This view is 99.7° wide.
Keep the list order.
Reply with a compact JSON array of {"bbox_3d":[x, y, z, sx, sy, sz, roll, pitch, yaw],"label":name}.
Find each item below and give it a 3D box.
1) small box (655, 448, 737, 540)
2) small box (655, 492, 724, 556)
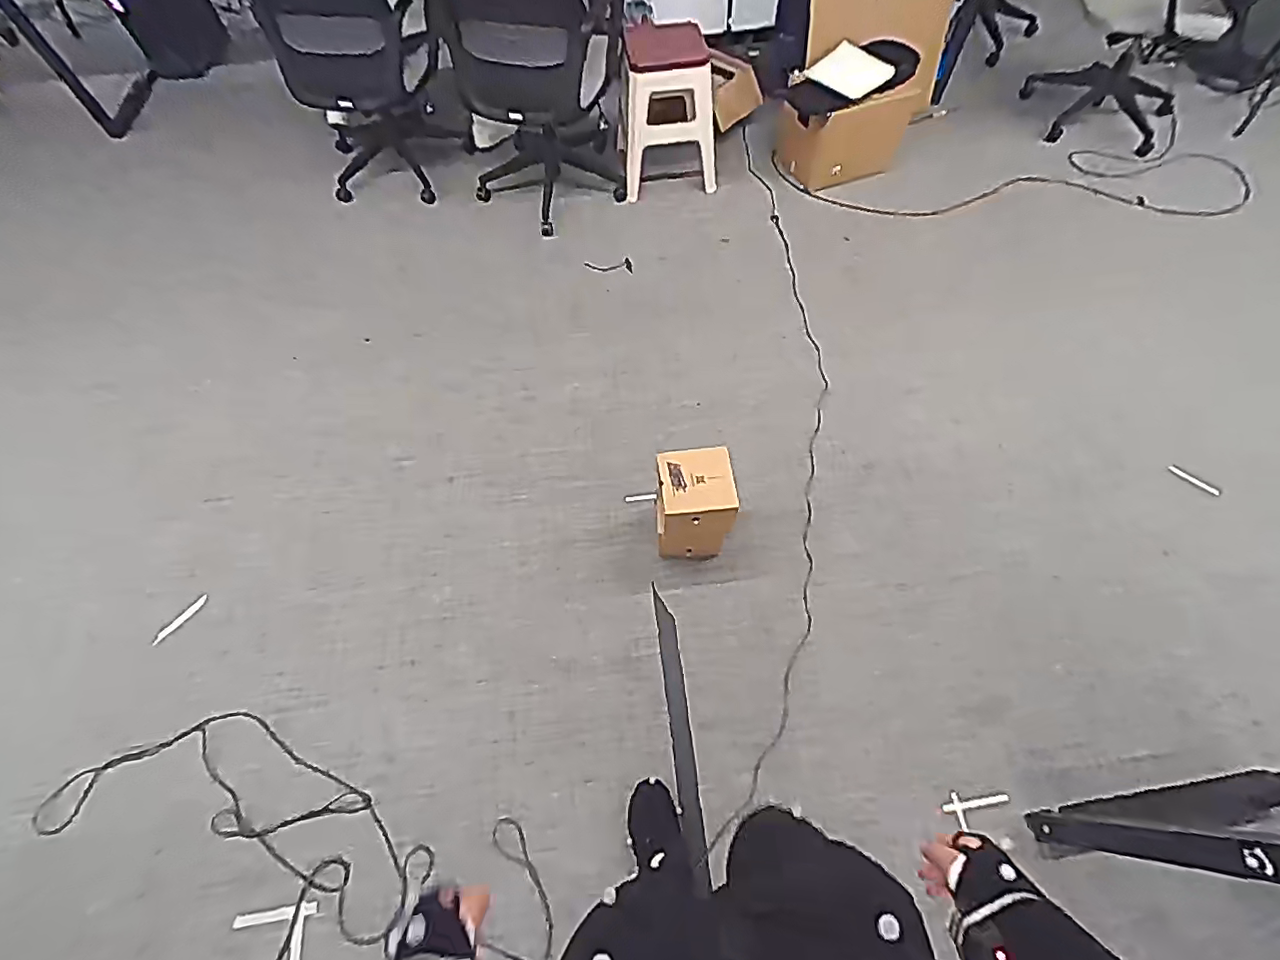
[{"bbox_3d":[0.134,0.040,1.344,0.179,0.176,0.168,-6,62,-2],"label":"small box"},{"bbox_3d":[0.131,0.105,1.498,0.179,0.176,0.168,-1,62,0],"label":"small box"}]
